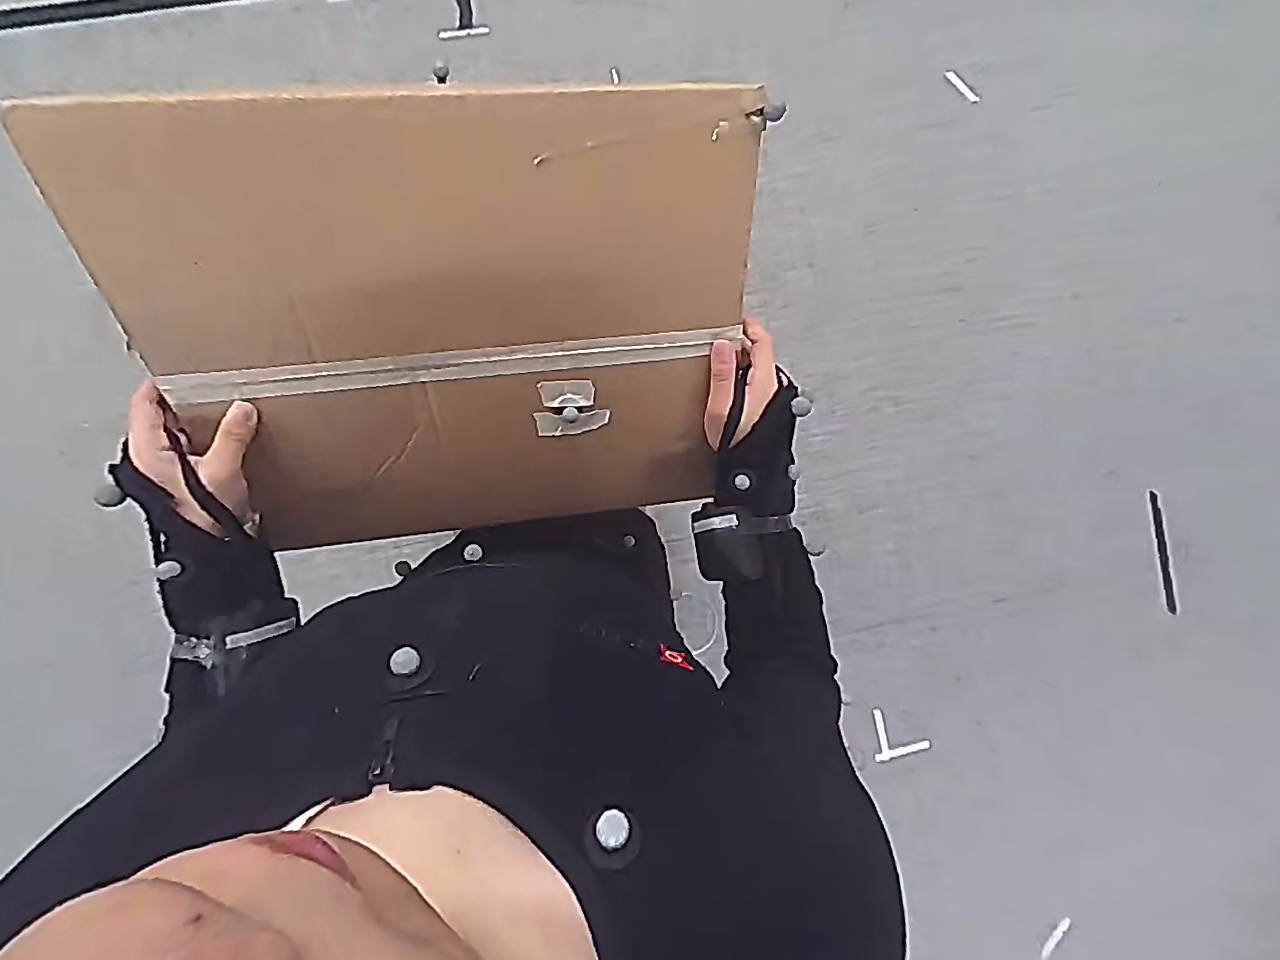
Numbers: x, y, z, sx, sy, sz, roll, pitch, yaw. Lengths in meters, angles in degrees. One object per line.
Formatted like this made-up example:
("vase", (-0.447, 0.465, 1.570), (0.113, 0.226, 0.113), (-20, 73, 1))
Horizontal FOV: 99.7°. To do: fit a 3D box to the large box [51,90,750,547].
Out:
("large box", (-0.150, -0.178, 0.520), (0.408, 0.320, 0.320), (-8, 128, -8))
